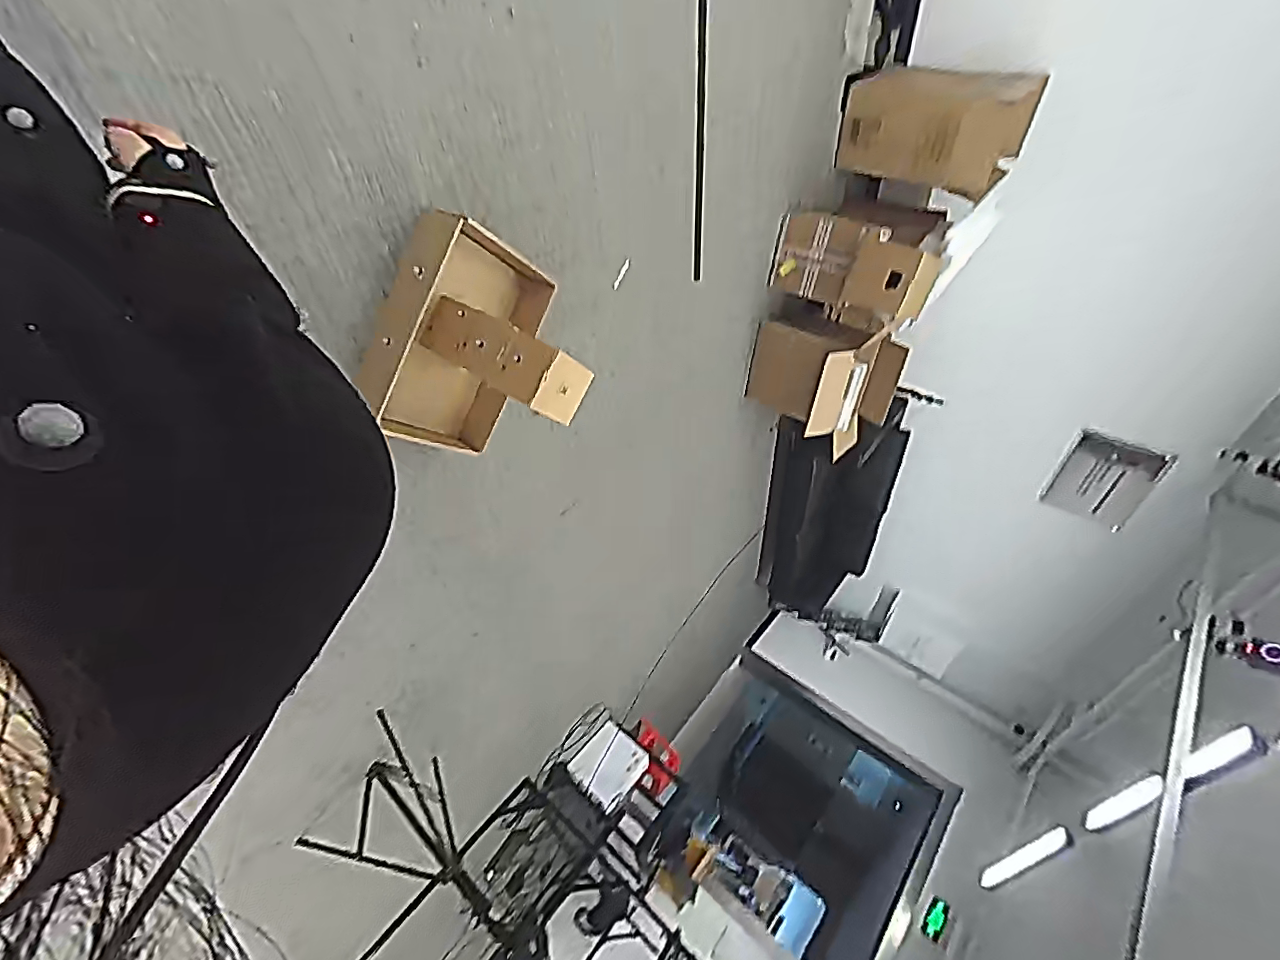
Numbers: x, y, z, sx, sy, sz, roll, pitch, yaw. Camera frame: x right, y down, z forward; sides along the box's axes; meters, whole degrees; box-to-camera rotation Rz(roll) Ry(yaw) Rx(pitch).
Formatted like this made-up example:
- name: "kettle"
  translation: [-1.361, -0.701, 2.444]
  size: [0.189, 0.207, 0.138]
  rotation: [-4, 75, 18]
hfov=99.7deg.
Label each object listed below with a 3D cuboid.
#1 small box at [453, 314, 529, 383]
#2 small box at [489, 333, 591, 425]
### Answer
- name: "small box"
  translation: [-0.396, -0.352, 1.538]
  size: [0.168, 0.176, 0.179]
  rotation: [-61, 150, 2]
- name: "small box"
  translation: [-0.271, -0.276, 1.466]
  size: [0.168, 0.176, 0.179]
  rotation: [-62, 151, 3]
